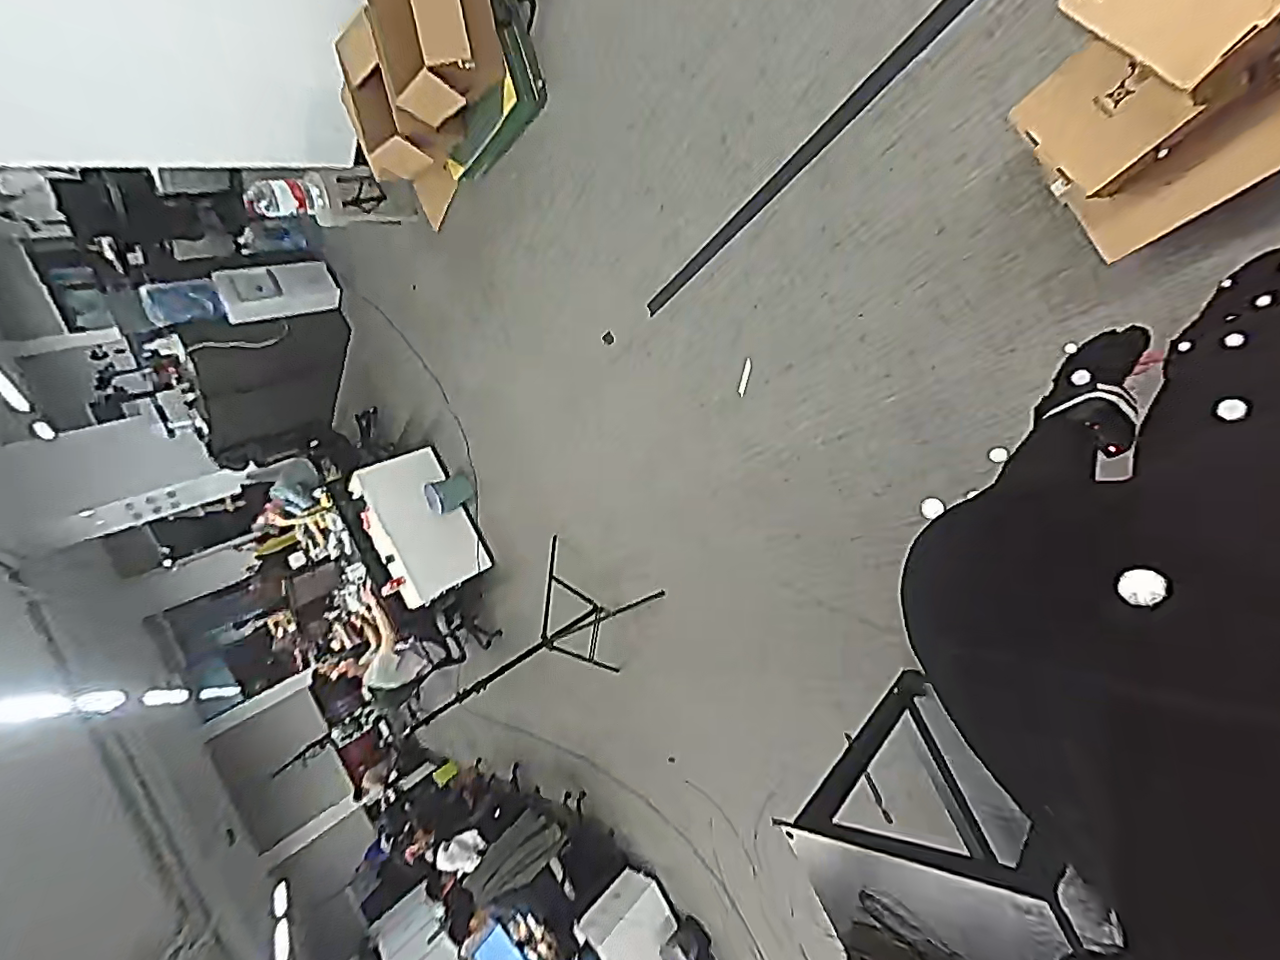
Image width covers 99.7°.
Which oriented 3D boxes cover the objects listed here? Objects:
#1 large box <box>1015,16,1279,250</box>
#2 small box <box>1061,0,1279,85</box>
[{"bbox_3d":[0.901,-0.622,0.827,0.320,0.320,0.408,59,141,5],"label":"large box"},{"bbox_3d":[0.596,-0.544,0.561,0.179,0.176,0.168,51,140,15],"label":"small box"}]
